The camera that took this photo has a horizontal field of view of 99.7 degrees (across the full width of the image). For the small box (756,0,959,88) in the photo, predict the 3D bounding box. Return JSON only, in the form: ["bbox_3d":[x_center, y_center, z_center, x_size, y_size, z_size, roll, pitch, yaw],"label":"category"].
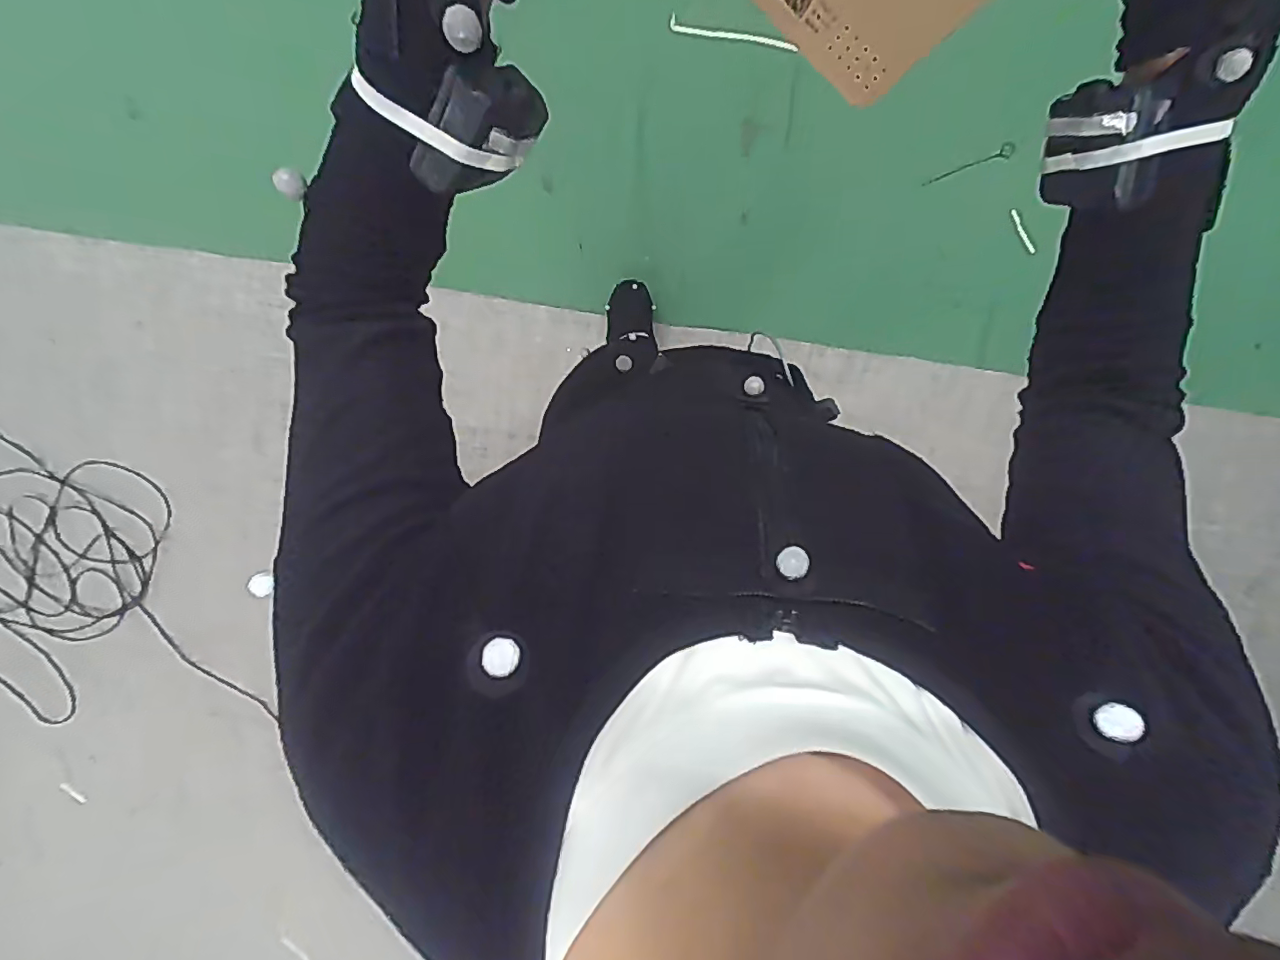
[{"bbox_3d":[0.118,-0.309,0.196,0.168,0.176,0.179,36,86,-15],"label":"small box"}]
